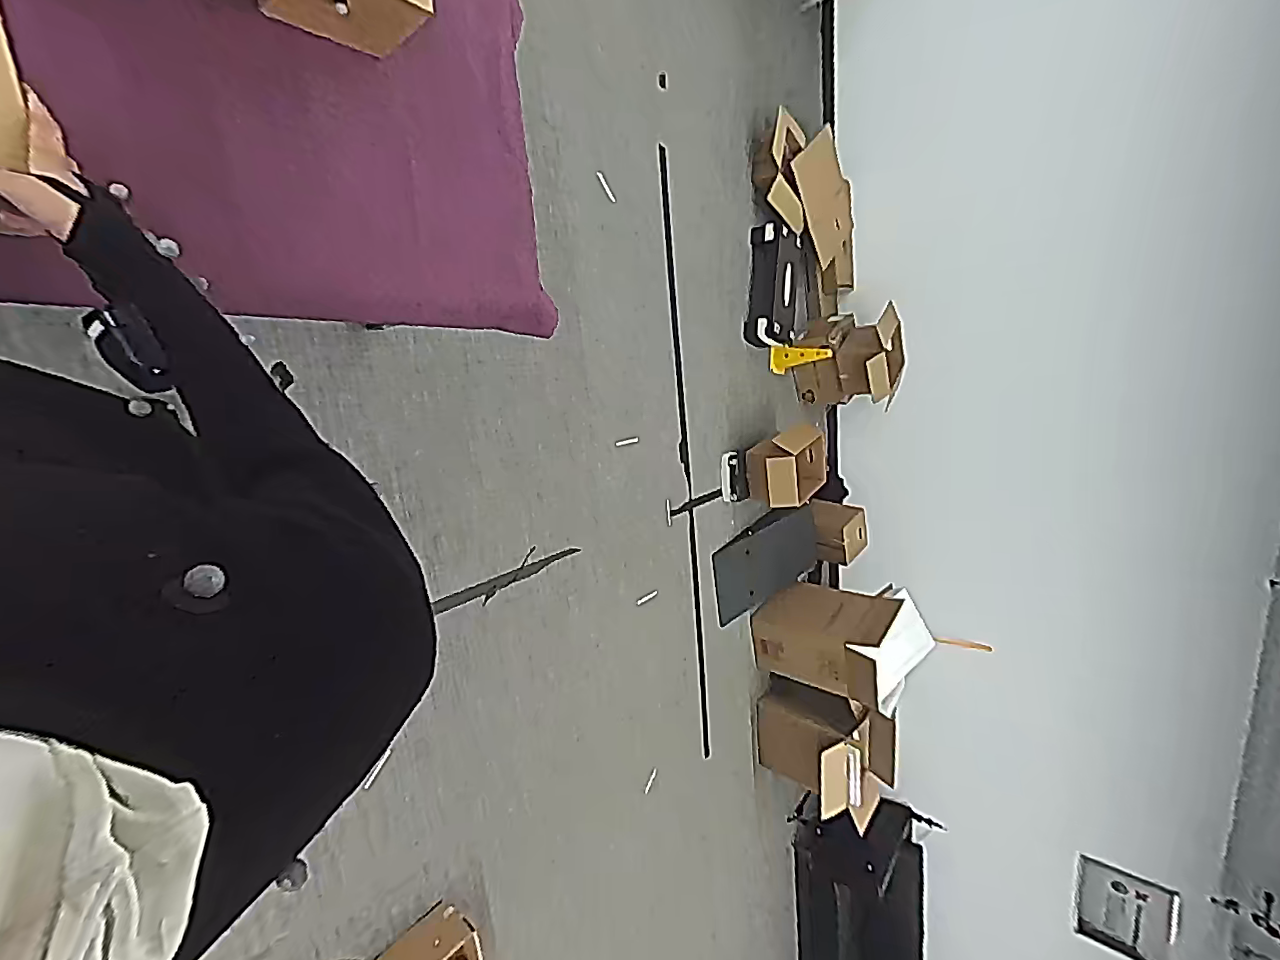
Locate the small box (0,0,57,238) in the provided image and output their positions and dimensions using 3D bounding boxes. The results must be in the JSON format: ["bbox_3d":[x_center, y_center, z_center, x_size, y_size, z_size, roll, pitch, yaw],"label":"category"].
[{"bbox_3d":[-0.619,-0.301,0.430,0.179,0.176,0.168,-18,108,-48],"label":"small box"}]

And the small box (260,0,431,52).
[{"bbox_3d":[-0.419,-0.738,0.746,0.179,0.176,0.168,-18,110,-46],"label":"small box"}]
